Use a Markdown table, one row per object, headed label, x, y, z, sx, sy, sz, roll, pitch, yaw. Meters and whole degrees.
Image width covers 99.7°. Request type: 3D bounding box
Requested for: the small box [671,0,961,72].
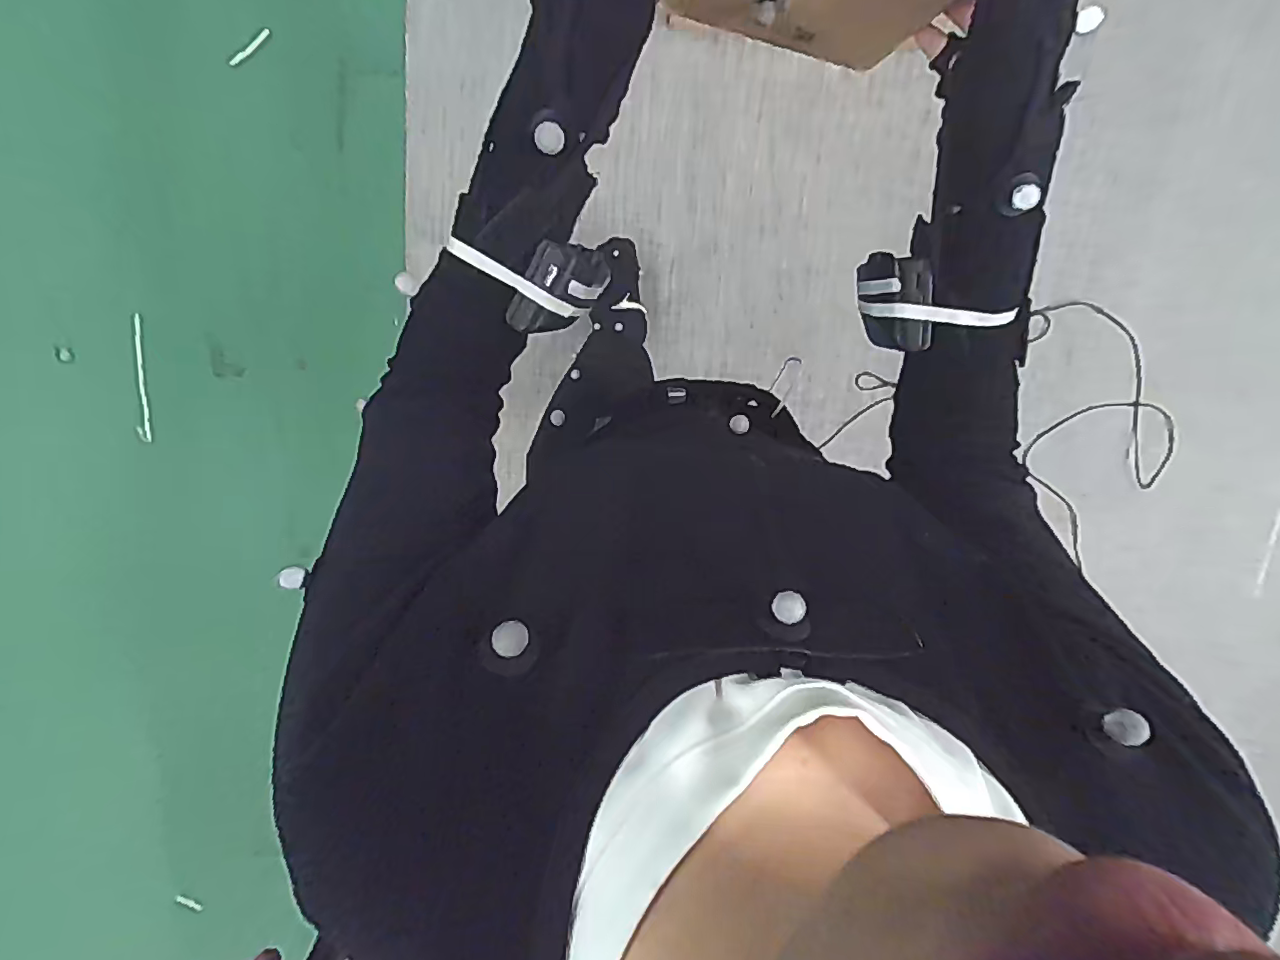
| label | x | y | z | sx | sy | sz | roll | pitch | yaw |
| --- | --- | --- | --- | --- | --- | --- | --- | --- | --- |
| small box | 0.116 | -0.371 | 0.293 | 0.168 | 0.176 | 0.179 | 10 | 109 | -9 |
